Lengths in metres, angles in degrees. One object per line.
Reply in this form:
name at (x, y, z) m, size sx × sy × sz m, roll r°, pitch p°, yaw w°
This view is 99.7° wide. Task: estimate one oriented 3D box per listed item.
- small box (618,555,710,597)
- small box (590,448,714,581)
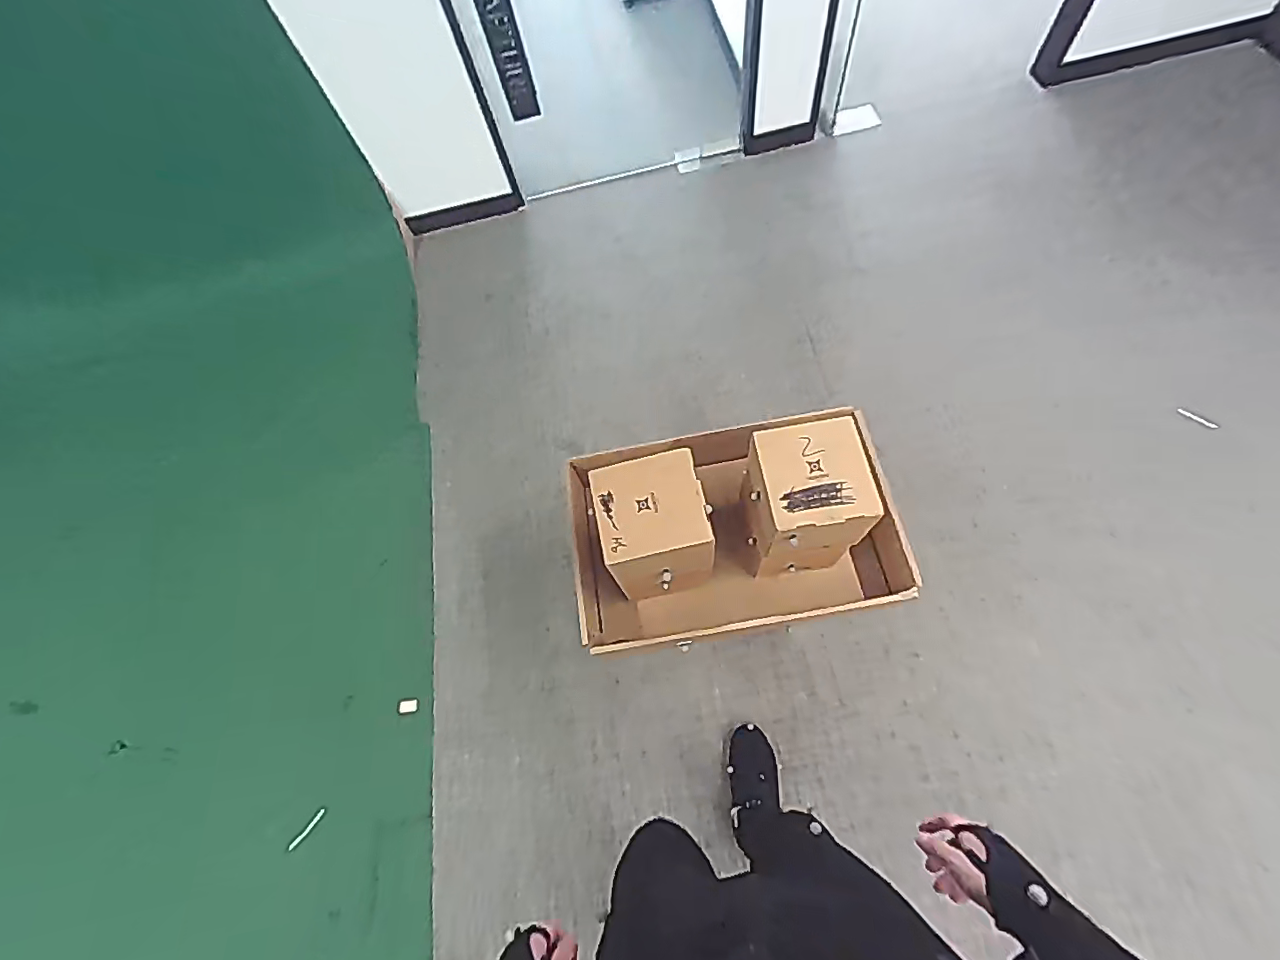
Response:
small box at (0.041, 0.129, 1.086) m, size 0.179 × 0.176 × 0.168 m, roll -11°, pitch 66°, yaw 1°
small box at (0.023, 0.066, 0.935) m, size 0.179 × 0.176 × 0.168 m, roll -13°, pitch 67°, yaw 1°
